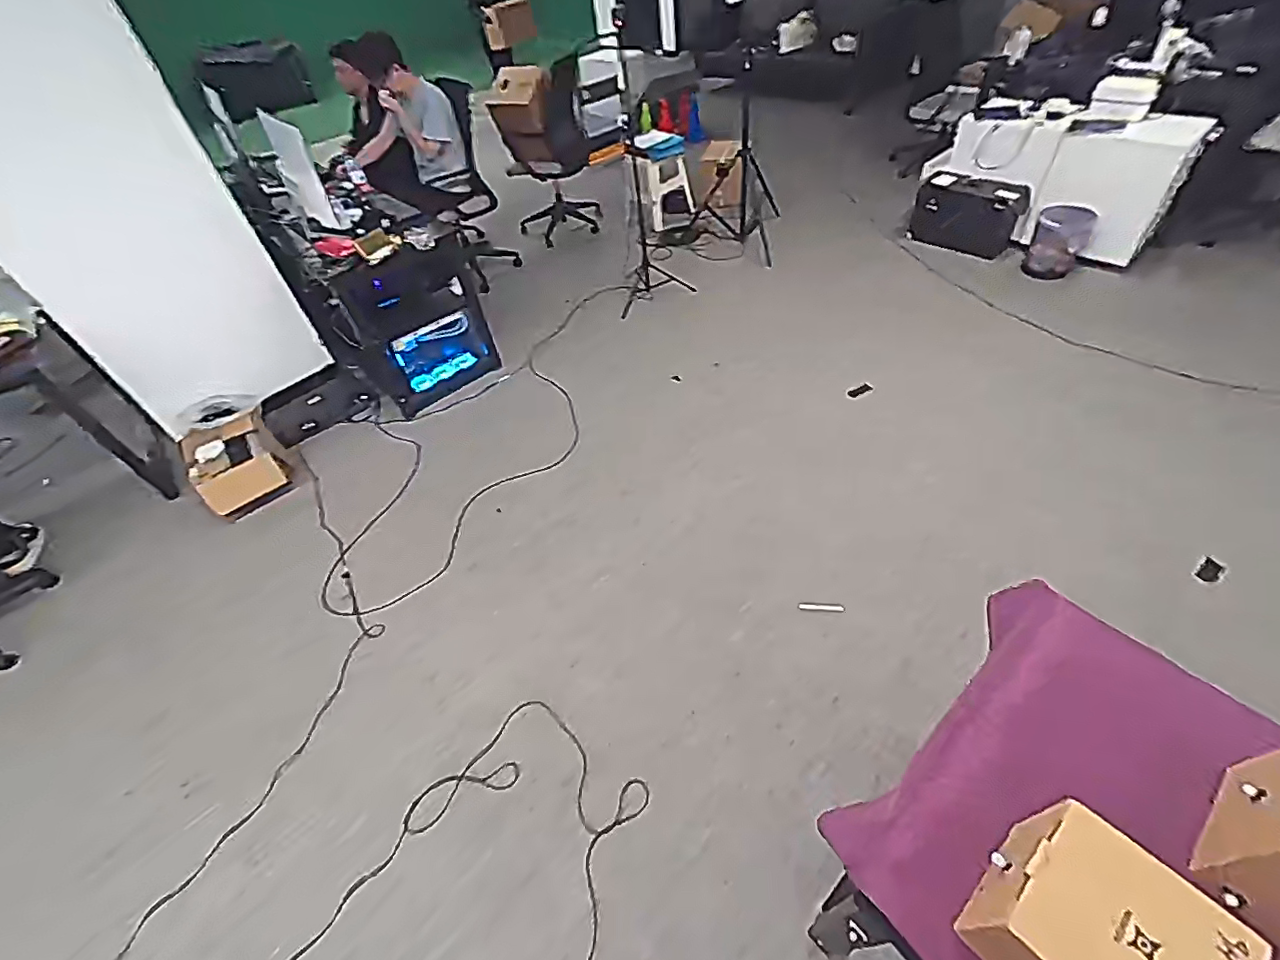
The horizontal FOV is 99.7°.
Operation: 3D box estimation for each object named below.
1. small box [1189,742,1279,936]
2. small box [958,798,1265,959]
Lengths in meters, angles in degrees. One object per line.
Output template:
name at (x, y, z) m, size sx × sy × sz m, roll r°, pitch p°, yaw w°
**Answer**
small box at (0.783, 0.428, 0.607) m, size 0.179 × 0.176 × 0.168 m, roll -37°, pitch 53°, yaw -23°
small box at (0.487, 0.497, 0.589) m, size 0.168 × 0.176 × 0.179 m, roll -37°, pitch 52°, yaw -22°
